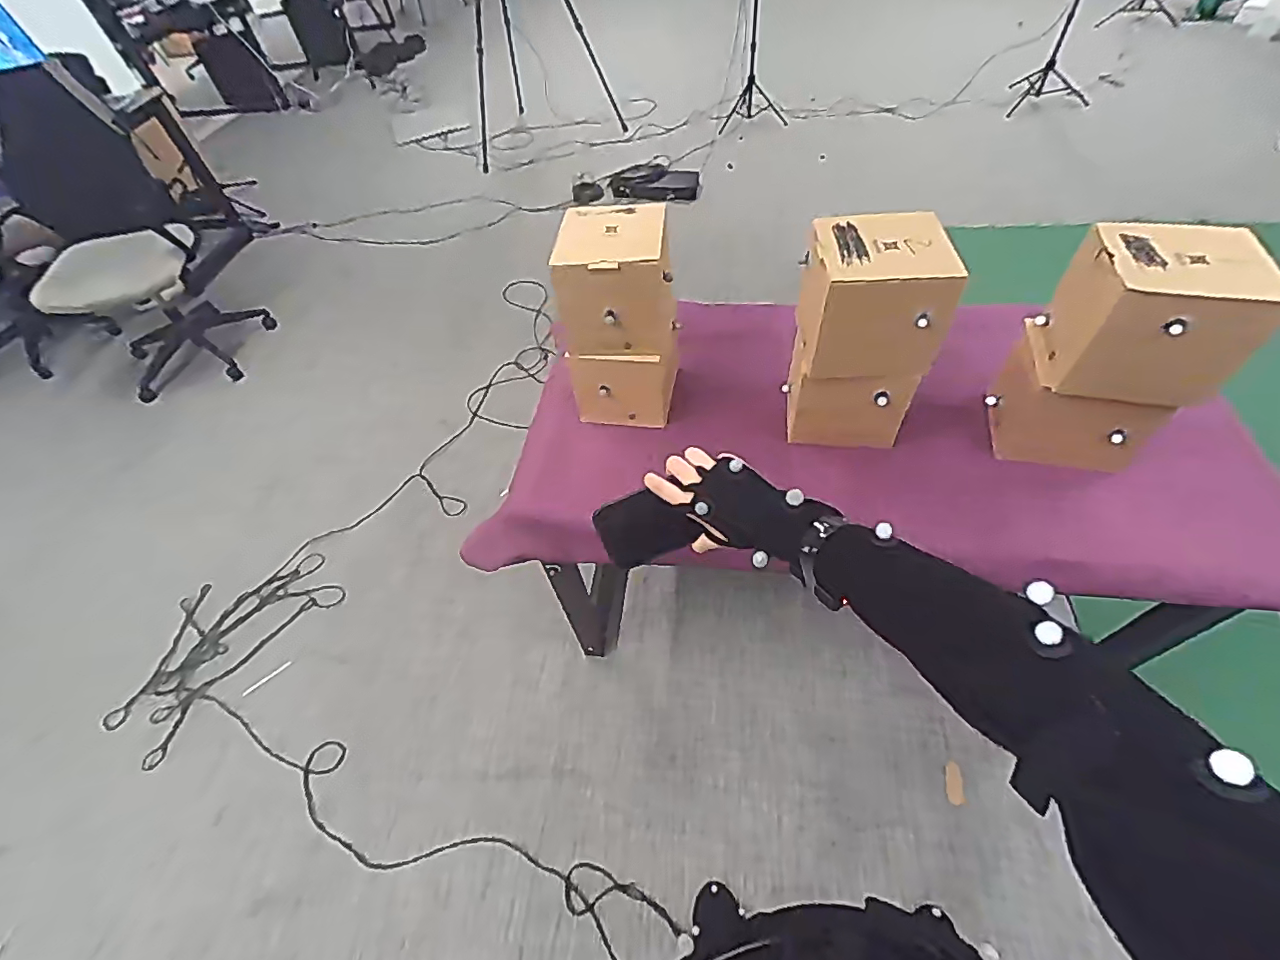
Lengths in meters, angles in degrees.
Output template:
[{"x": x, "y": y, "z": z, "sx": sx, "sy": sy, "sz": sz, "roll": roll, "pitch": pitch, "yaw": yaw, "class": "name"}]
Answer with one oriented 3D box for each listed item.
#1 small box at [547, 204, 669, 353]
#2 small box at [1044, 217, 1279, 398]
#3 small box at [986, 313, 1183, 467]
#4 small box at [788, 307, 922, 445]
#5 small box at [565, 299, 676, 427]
[{"x": -0.040, "y": -0.324, "z": 0.887, "sx": 0.168, "sy": 0.176, "sz": 0.179, "roll": 1, "pitch": 53, "yaw": 7, "class": "small box"}, {"x": 0.676, "y": -0.228, "z": 0.721, "sx": 0.179, "sy": 0.176, "sz": 0.168, "roll": 9, "pitch": 53, "yaw": 13, "class": "small box"}, {"x": 0.686, "y": -0.140, "z": 0.860, "sx": 0.179, "sy": 0.176, "sz": 0.168, "roll": 9, "pitch": 54, "yaw": 14, "class": "small box"}, {"x": 0.355, "y": -0.174, "z": 0.927, "sx": 0.179, "sy": 0.176, "sz": 0.168, "roll": 4, "pitch": 53, "yaw": 10, "class": "small box"}, {"x": -0.025, "y": -0.216, "z": 1.011, "sx": 0.168, "sy": 0.176, "sz": 0.179, "roll": 4, "pitch": 53, "yaw": 11, "class": "small box"}]
